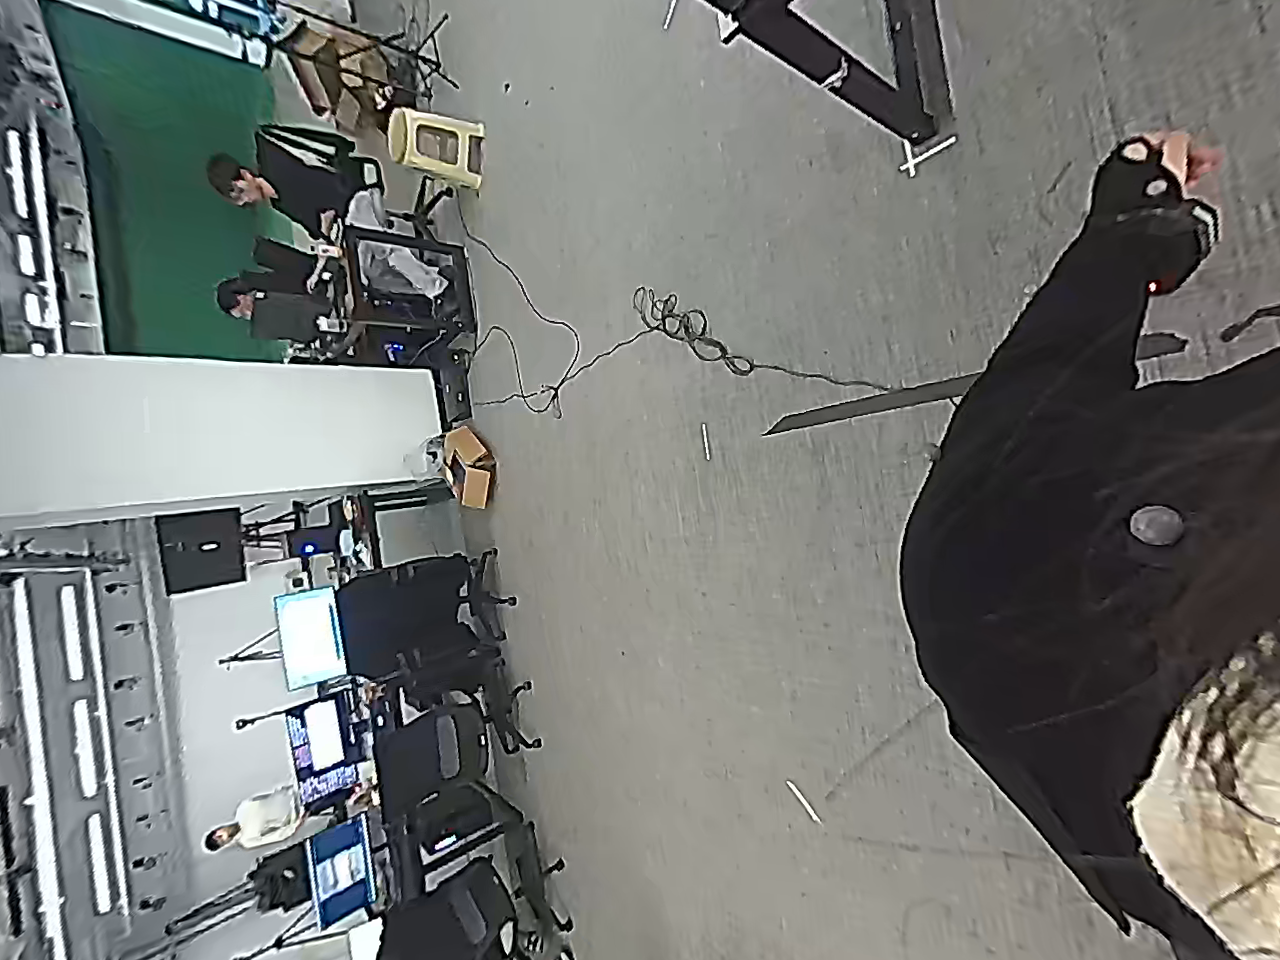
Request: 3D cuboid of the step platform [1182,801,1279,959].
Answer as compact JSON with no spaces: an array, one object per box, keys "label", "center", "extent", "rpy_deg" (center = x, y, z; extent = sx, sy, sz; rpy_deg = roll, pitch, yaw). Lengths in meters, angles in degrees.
[{"label":"step platform","center":[1.279,0.787,0.794],"extent":[0.684,0.204,0.286],"rpy_deg":[0,95,50]}]
